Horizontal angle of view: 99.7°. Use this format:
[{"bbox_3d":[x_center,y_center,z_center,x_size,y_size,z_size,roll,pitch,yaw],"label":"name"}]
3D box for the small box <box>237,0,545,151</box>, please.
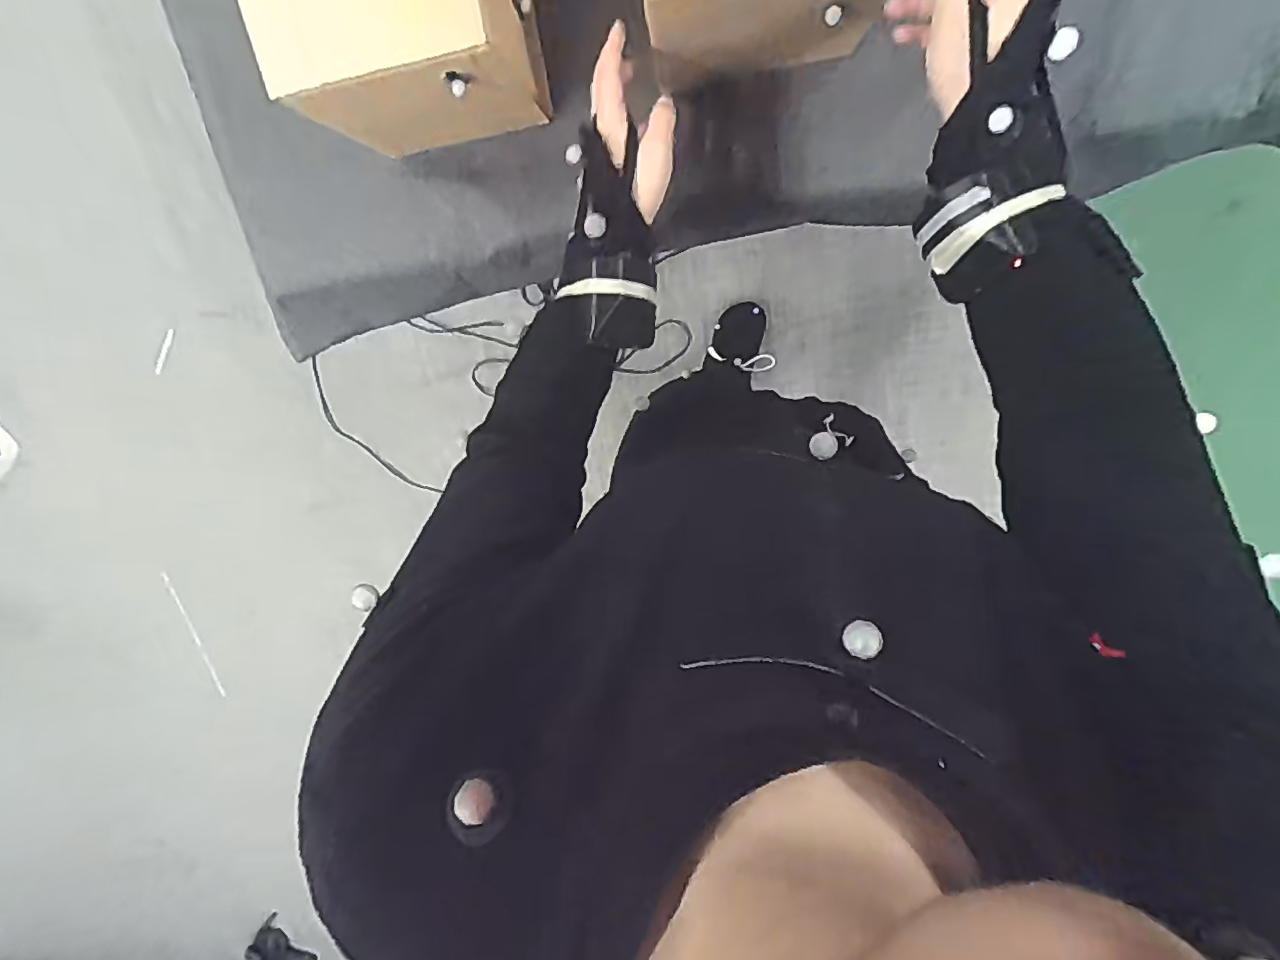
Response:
[{"bbox_3d":[-0.195,-0.392,0.438,0.179,0.176,0.168,-8,107,8],"label":"small box"}]
